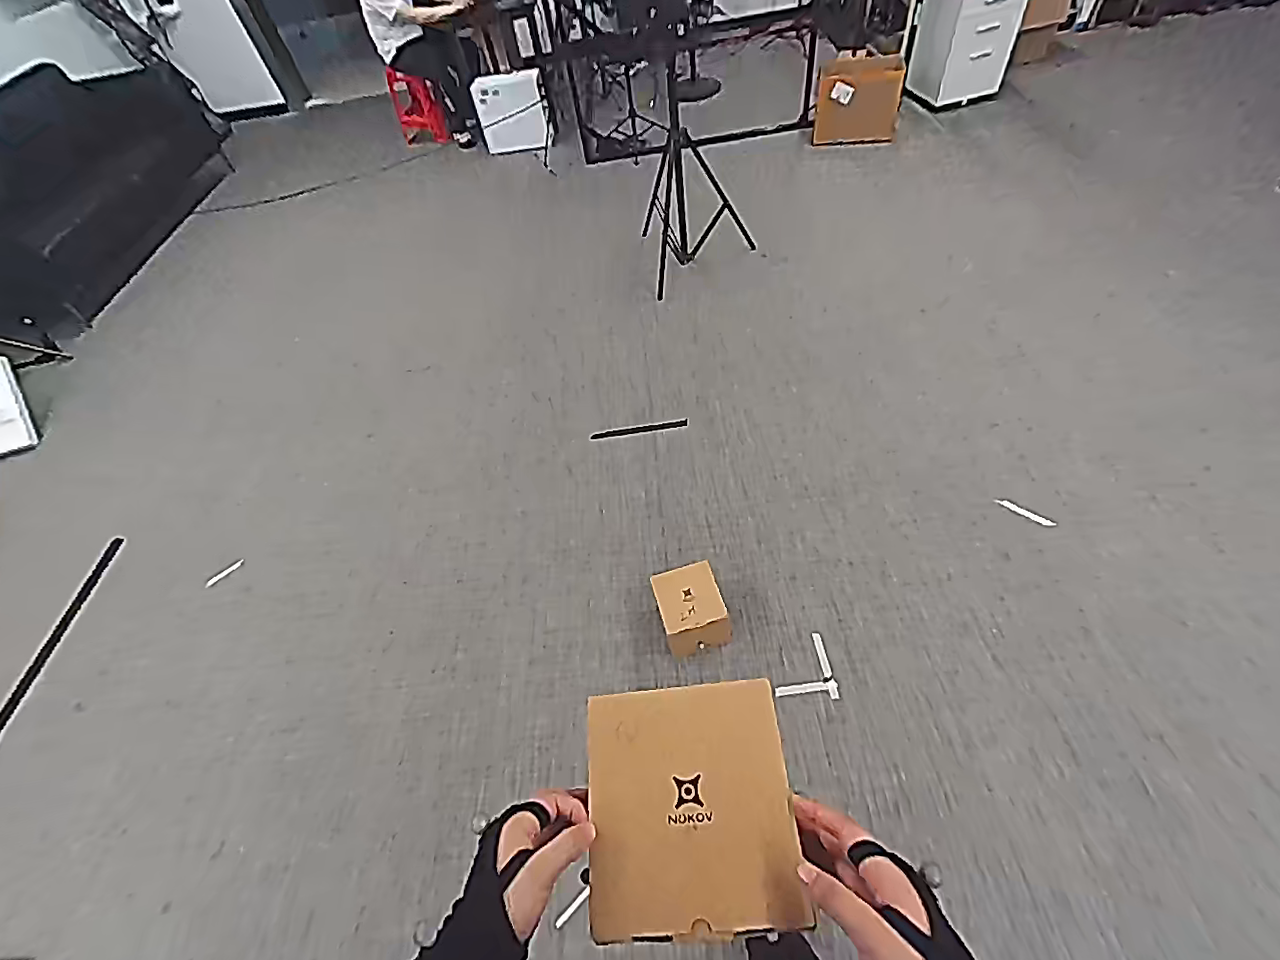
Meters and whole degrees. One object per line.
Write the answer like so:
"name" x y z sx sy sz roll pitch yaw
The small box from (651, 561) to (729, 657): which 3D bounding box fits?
"small box" 0.134 0.354 1.472 0.168 0.176 0.179 -17 52 -3
